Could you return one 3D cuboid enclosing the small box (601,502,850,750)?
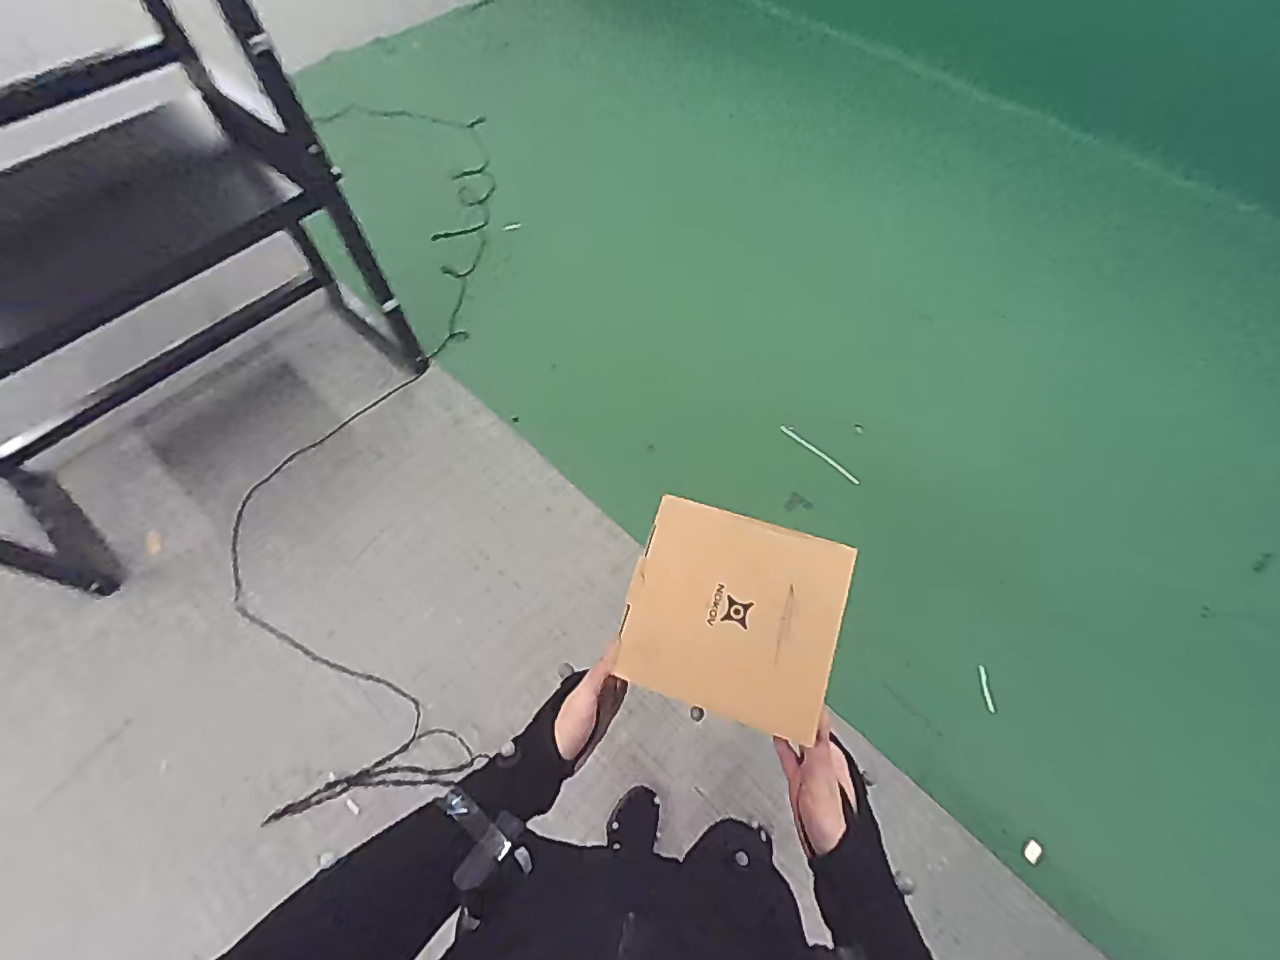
[{"bbox_3d":[0.082,0.139,0.532,0.179,0.176,0.168,16,75,11],"label":"small box"}]
